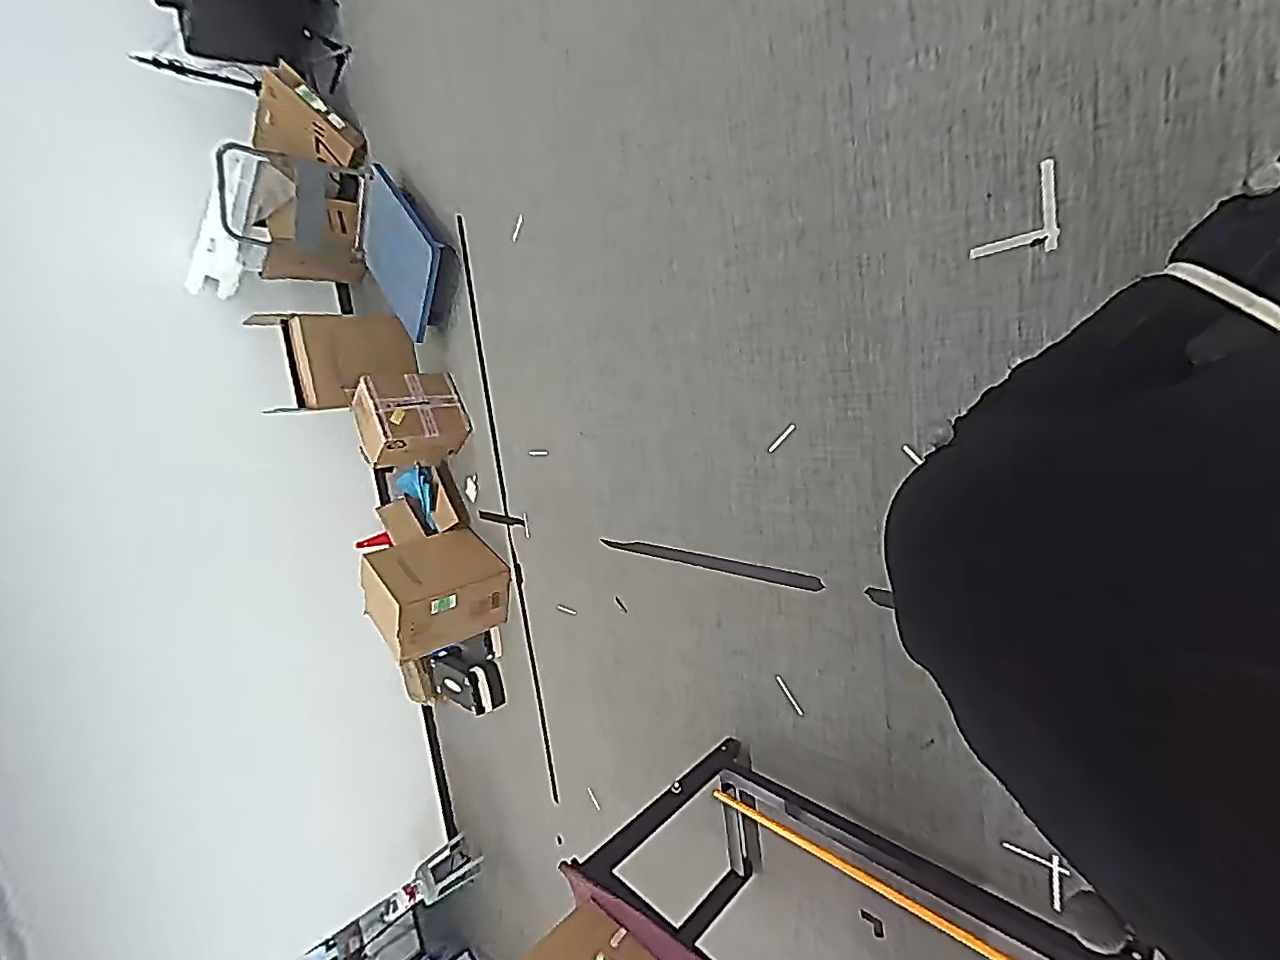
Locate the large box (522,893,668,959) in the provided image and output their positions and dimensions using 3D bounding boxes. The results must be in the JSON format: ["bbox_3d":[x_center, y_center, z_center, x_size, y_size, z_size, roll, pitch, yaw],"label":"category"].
[{"bbox_3d":[-0.102,1.379,1.342,0.320,0.320,0.408,3,105,48],"label":"large box"}]
